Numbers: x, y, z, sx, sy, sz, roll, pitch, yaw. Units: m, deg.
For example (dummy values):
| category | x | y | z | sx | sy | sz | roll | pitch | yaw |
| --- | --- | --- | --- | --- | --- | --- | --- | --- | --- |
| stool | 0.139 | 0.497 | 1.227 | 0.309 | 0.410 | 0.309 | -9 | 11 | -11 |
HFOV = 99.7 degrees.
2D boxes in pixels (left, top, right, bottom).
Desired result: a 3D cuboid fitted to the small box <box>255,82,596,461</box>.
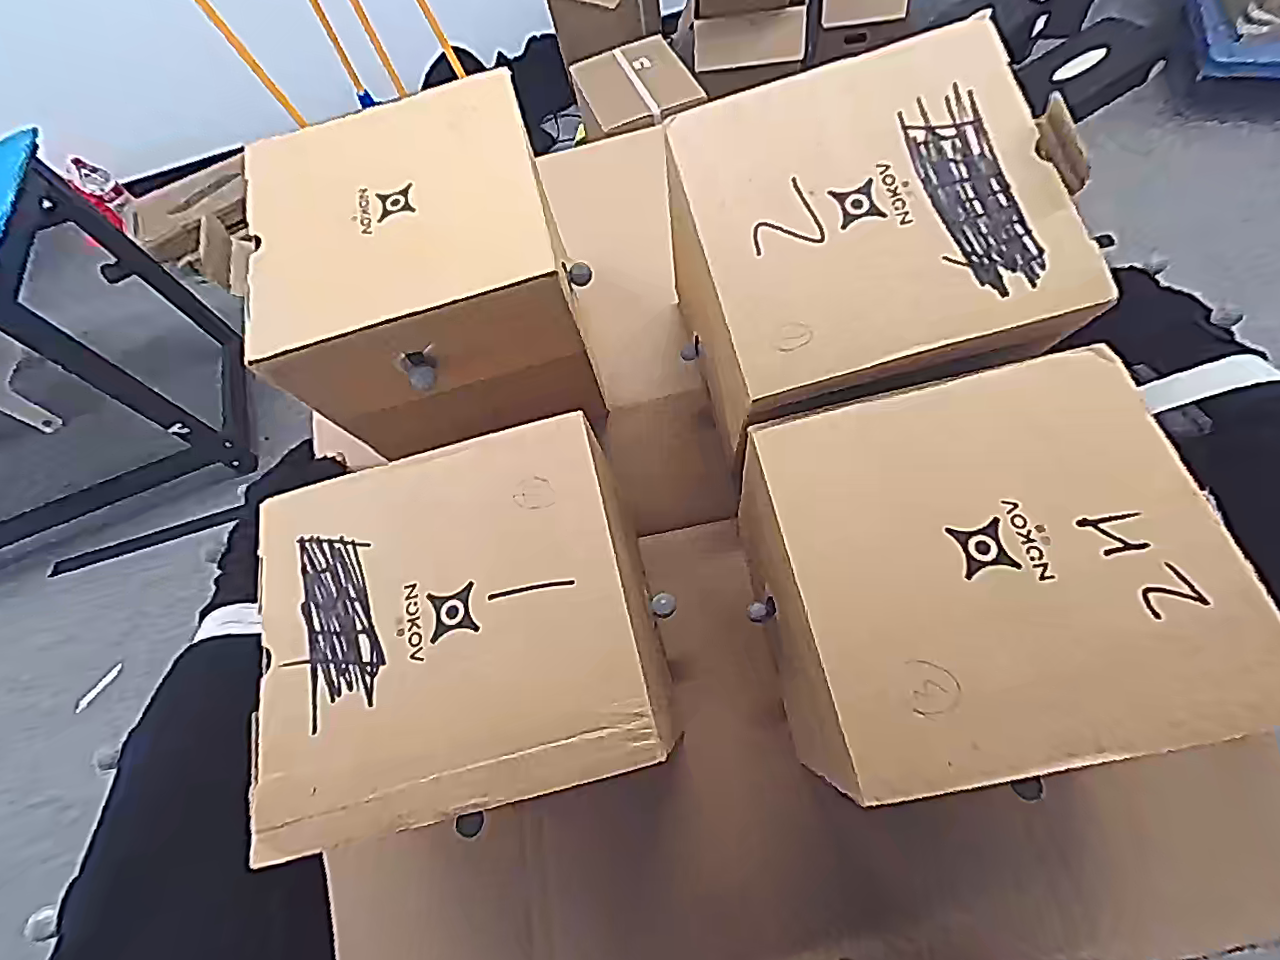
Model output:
| category | x | y | z | sx | sy | sz | roll | pitch | yaw |
| --- | --- | --- | --- | --- | --- | --- | --- | --- | --- |
| small box | -0.138 | -0.133 | 0.398 | 0.179 | 0.176 | 0.168 | -16 | 69 | 3 |
